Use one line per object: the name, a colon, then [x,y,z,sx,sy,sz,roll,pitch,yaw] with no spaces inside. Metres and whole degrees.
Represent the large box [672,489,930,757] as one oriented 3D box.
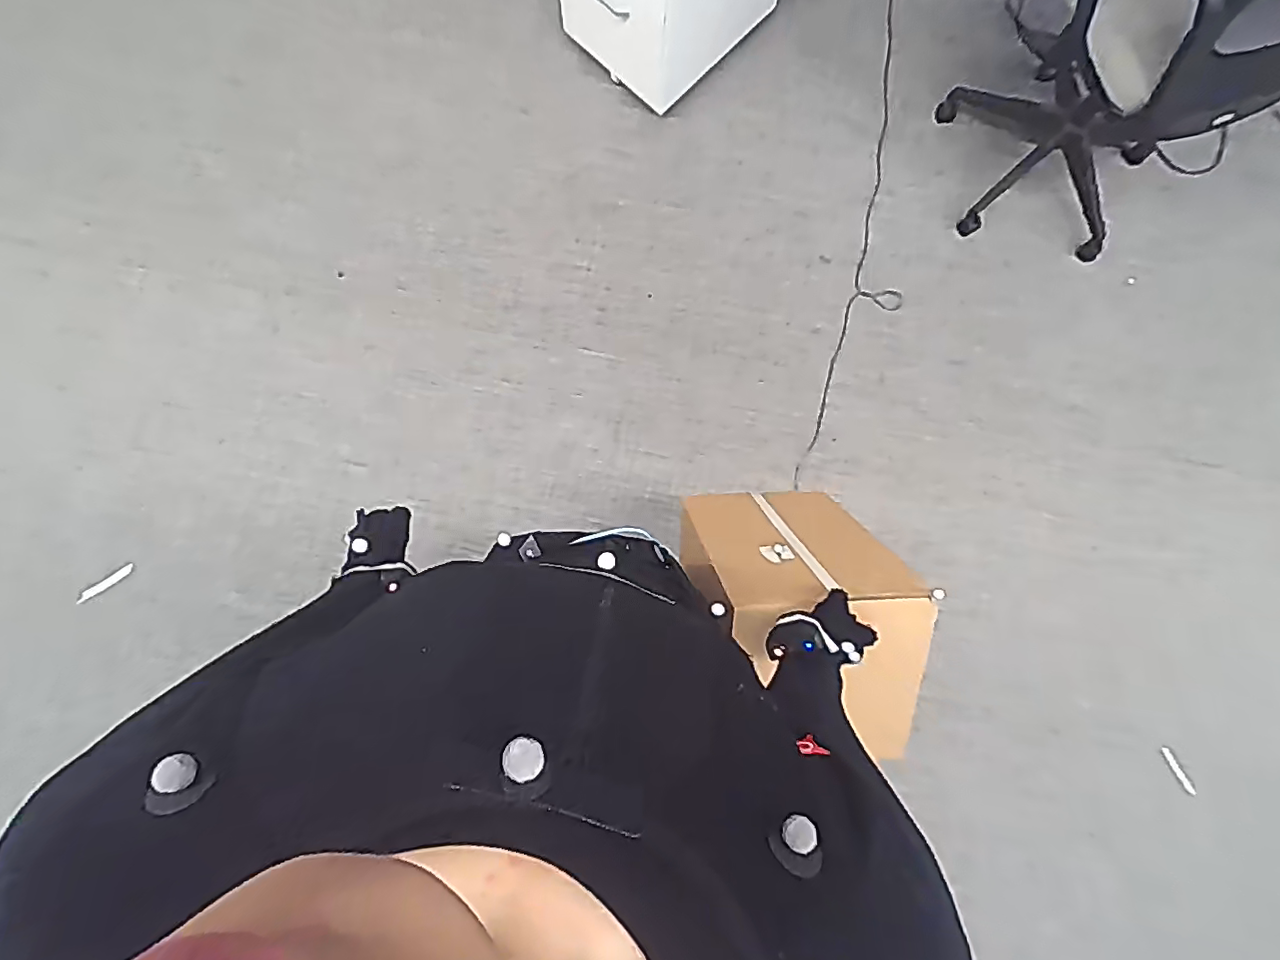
large box: [0.251,0.238,1.018,0.320,0.408,0.320,-1,113,-6]
